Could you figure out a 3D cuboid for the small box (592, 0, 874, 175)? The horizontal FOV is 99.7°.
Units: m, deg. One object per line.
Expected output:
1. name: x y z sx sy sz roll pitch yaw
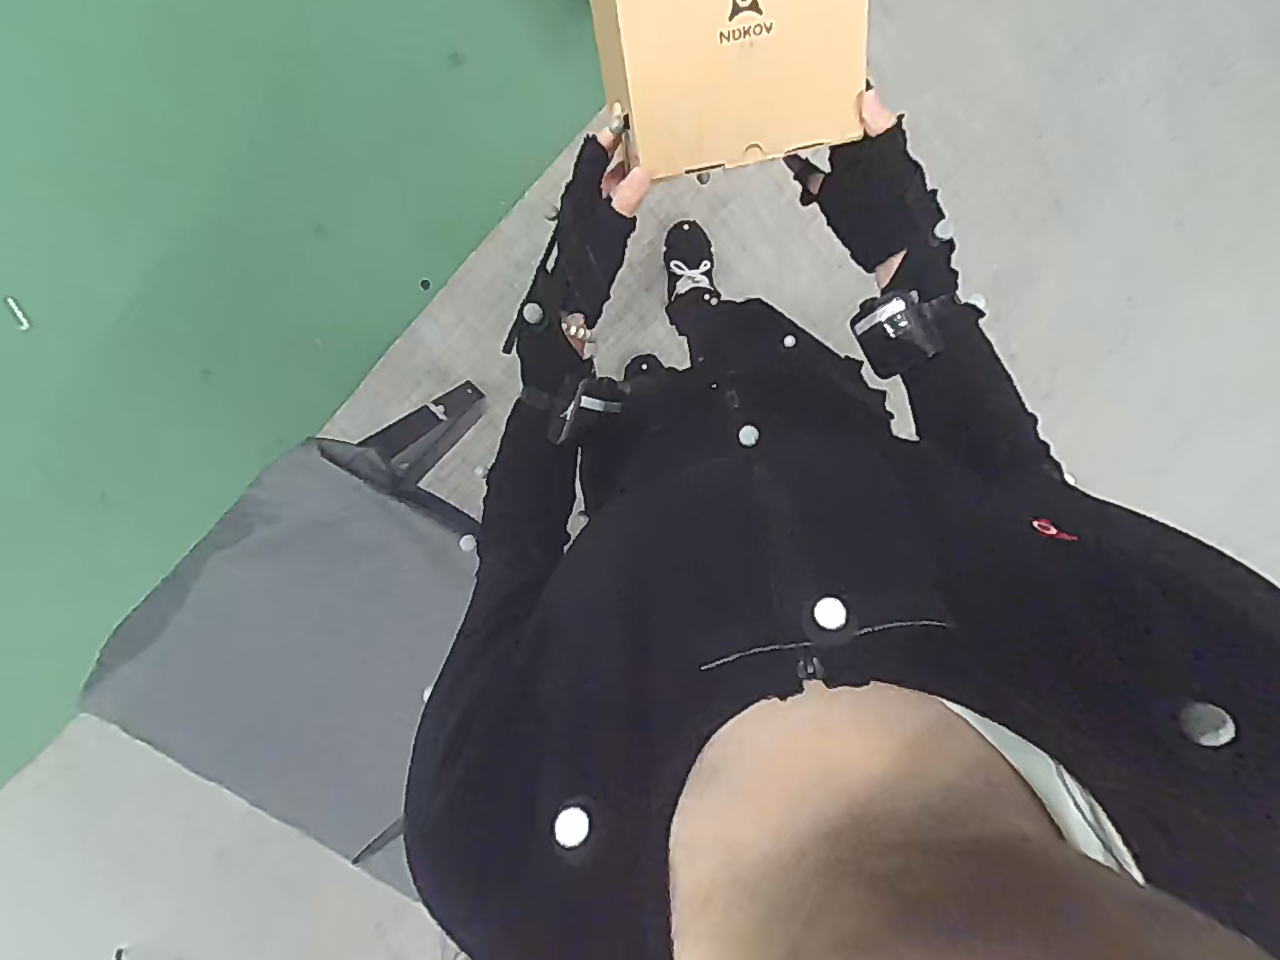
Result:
1. small box: 0.059 -0.345 0.411 0.168 0.176 0.179 -13 122 -2
